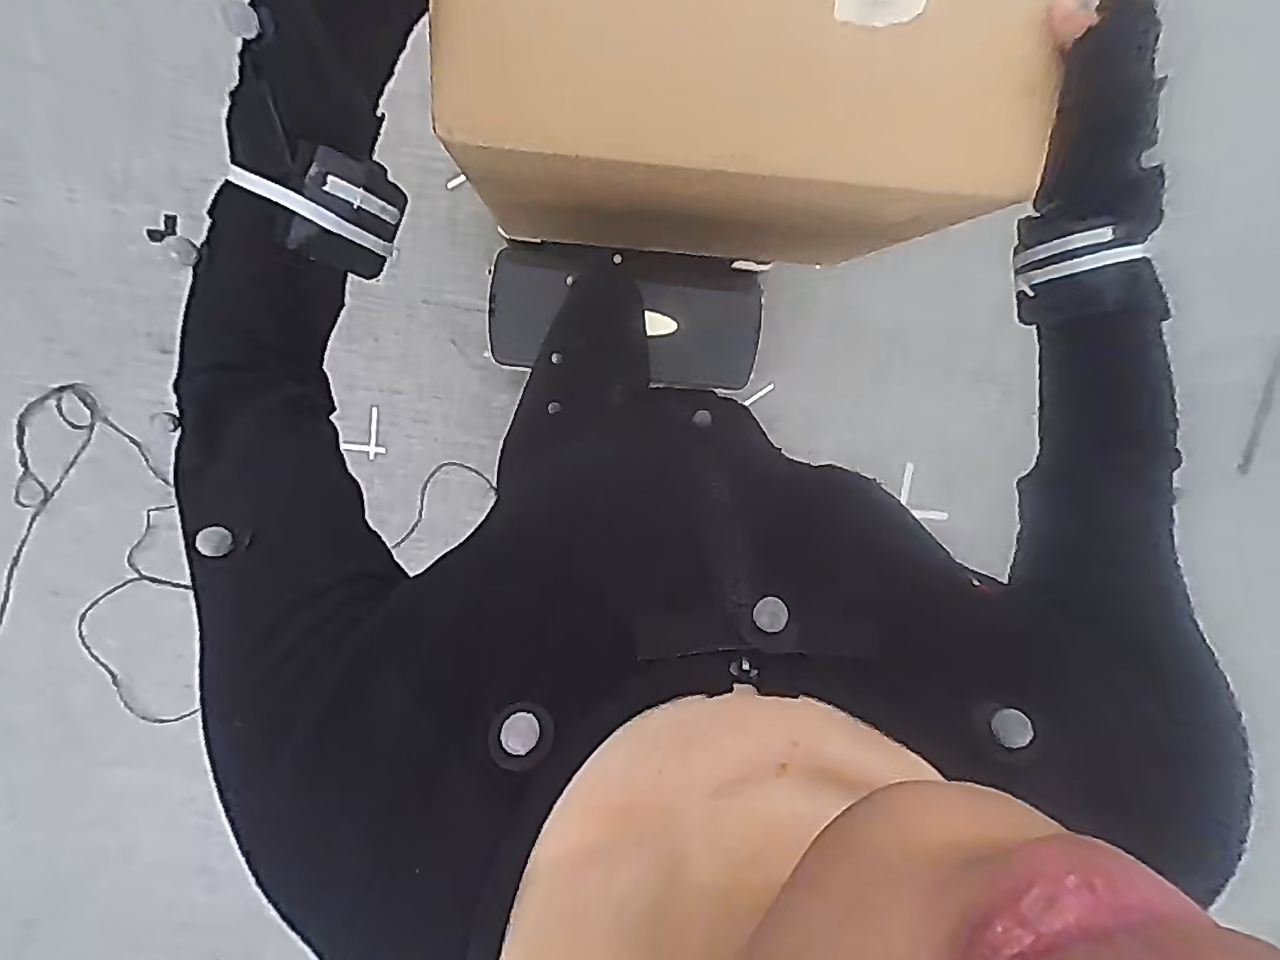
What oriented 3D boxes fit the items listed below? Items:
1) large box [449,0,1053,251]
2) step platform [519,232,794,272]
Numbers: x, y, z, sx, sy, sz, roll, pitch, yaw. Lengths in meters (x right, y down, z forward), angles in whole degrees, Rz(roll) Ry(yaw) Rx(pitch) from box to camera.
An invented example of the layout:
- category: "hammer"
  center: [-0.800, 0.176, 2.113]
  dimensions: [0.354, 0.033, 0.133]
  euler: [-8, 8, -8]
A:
- category: "large box"
  center: [0.064, -0.401, 0.476]
  dimensions: [0.408, 0.320, 0.320]
  euler: [1, 104, -7]
- category: "step platform"
  center: [0.045, -0.682, 1.266]
  dimensions: [0.684, 0.204, 0.286]
  euler: [5, 100, -5]
